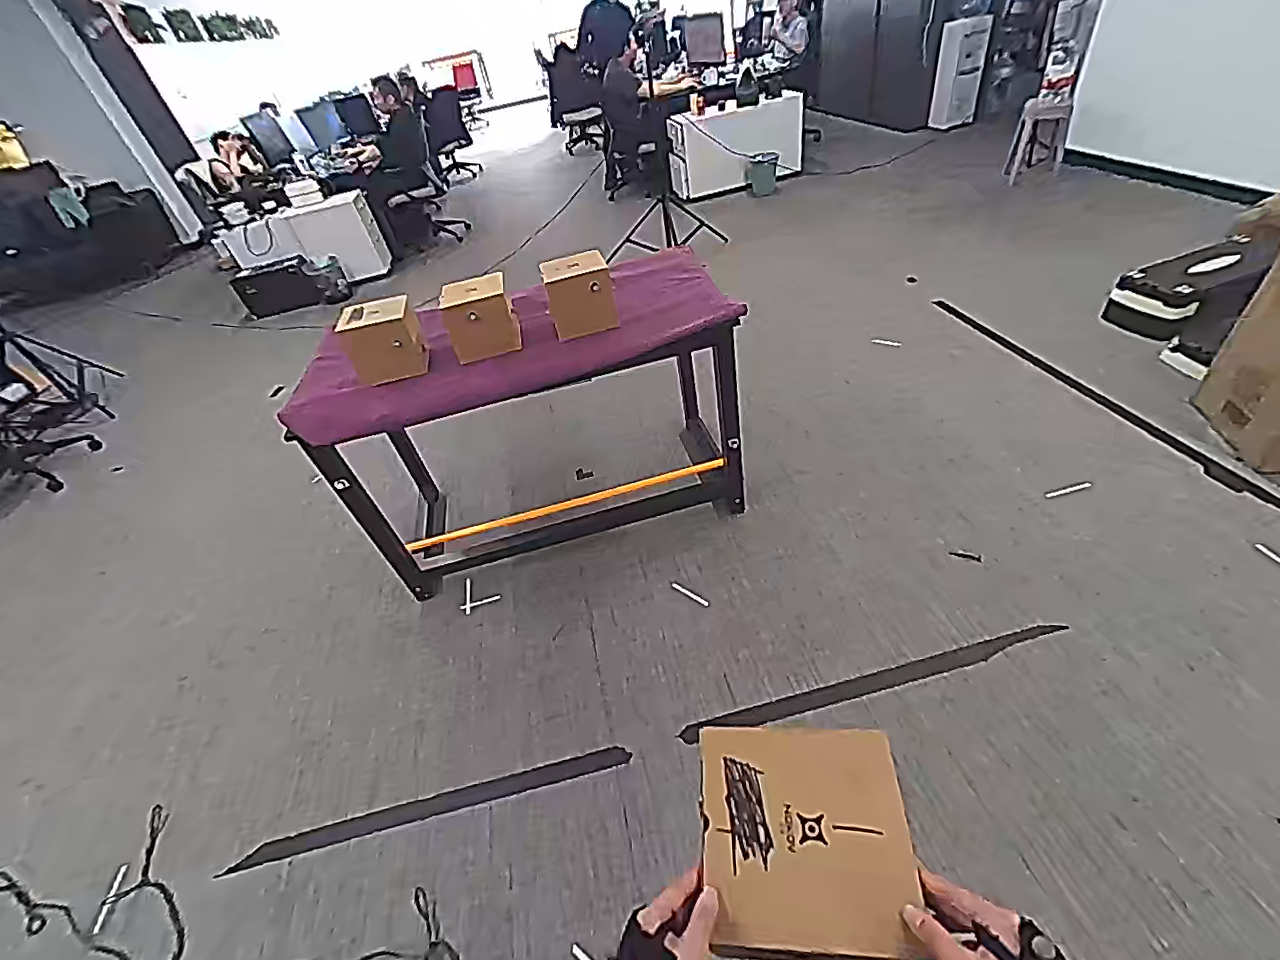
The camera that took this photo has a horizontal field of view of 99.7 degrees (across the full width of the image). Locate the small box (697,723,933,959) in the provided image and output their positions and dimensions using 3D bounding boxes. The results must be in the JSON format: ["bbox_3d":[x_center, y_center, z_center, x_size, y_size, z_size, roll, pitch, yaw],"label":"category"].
[{"bbox_3d":[0.150,0.349,0.519,0.179,0.176,0.168,-4,46,9],"label":"small box"}]

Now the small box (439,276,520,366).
[{"bbox_3d":[-0.441,-0.444,1.513,0.179,0.176,0.168,-16,41,-3],"label":"small box"}]

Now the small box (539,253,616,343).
[{"bbox_3d":[-0.170,-0.508,1.508,0.179,0.176,0.168,-16,39,-4],"label":"small box"}]
